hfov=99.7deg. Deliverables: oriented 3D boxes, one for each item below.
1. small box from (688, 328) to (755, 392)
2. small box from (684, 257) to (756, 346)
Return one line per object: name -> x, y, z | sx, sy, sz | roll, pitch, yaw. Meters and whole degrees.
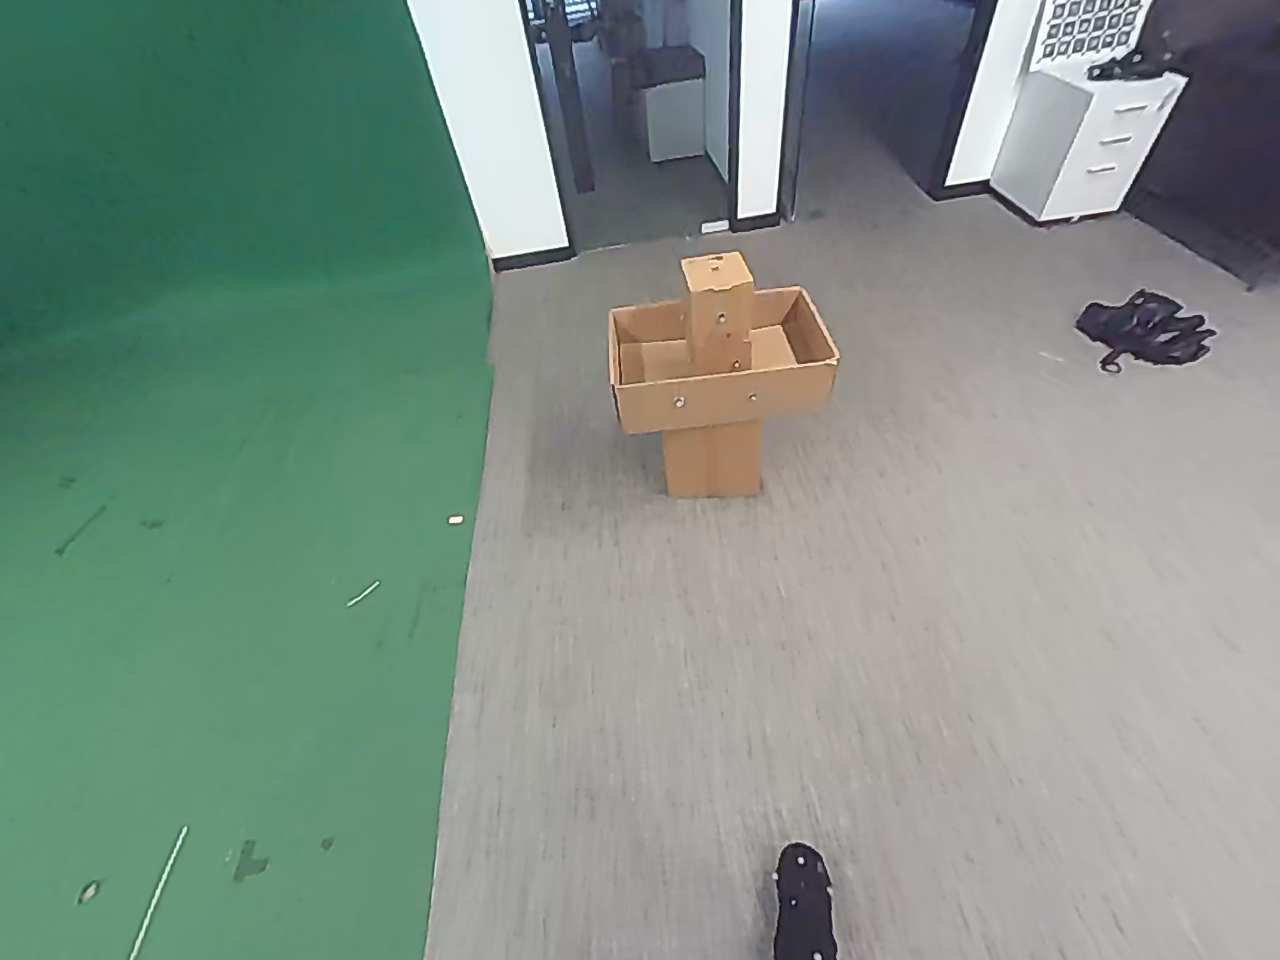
small box -> 0.240, -0.374, 1.605 | 0.168, 0.176, 0.179 | -8, 46, 0
small box -> 0.216, -0.484, 1.486 | 0.168, 0.176, 0.179 | -7, 48, 0
